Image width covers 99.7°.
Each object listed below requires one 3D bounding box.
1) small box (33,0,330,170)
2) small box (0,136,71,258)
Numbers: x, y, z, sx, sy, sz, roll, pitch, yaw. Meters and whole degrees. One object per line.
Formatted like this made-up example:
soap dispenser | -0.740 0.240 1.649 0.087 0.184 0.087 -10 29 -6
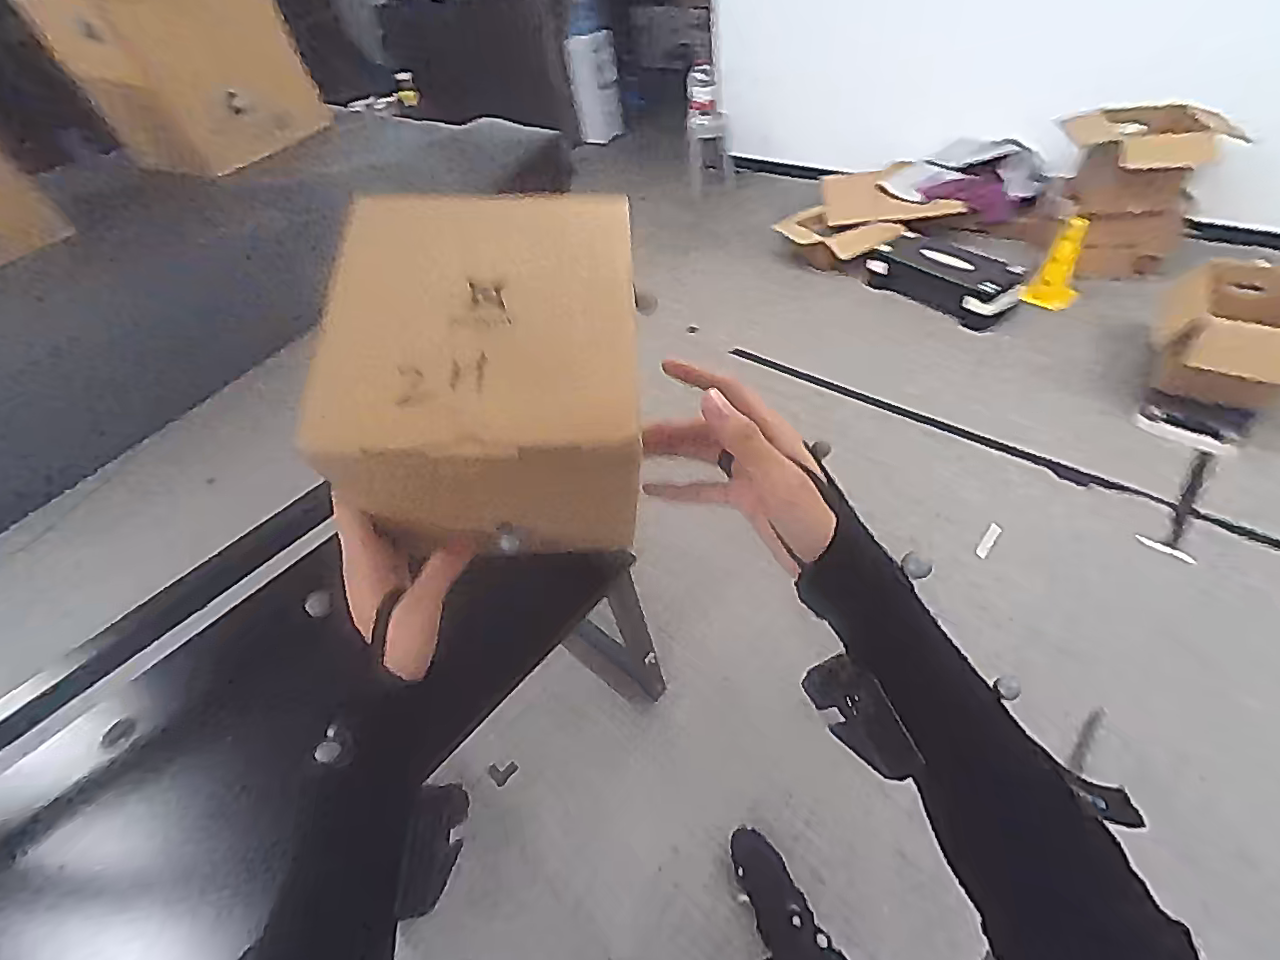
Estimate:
small box | -0.509 -0.476 0.617 0.179 0.176 0.168 21 57 24
small box | -0.681 -0.288 0.485 0.179 0.176 0.168 28 59 31
